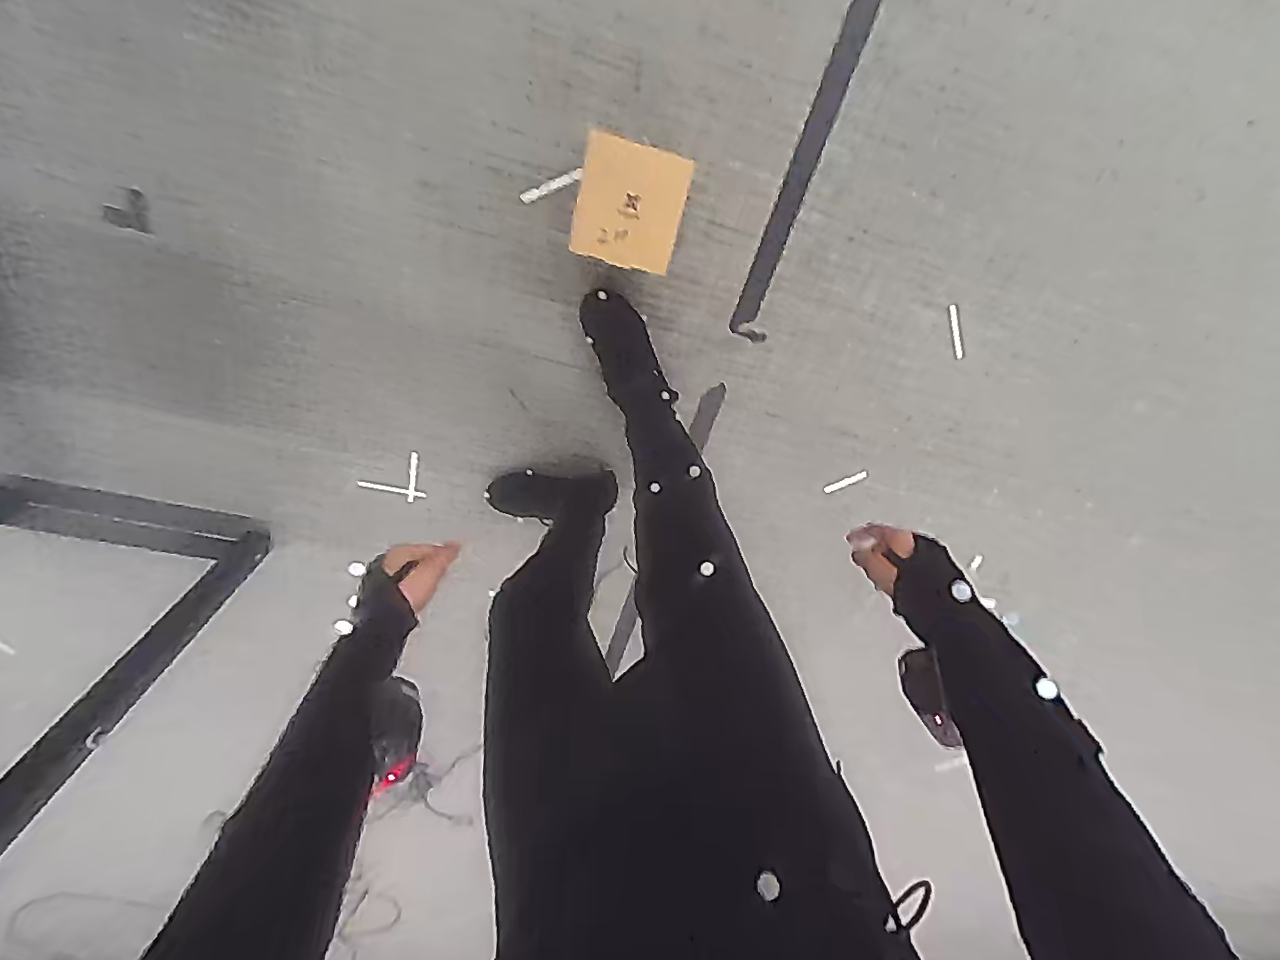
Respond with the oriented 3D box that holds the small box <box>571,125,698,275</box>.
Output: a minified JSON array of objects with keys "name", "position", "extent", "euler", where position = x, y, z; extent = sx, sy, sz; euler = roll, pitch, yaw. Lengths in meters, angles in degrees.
[{"name":"small box","position":[-0.017,-0.467,0.907],"extent":[0.168,0.176,0.179],"euler":[12,119,-10]}]
